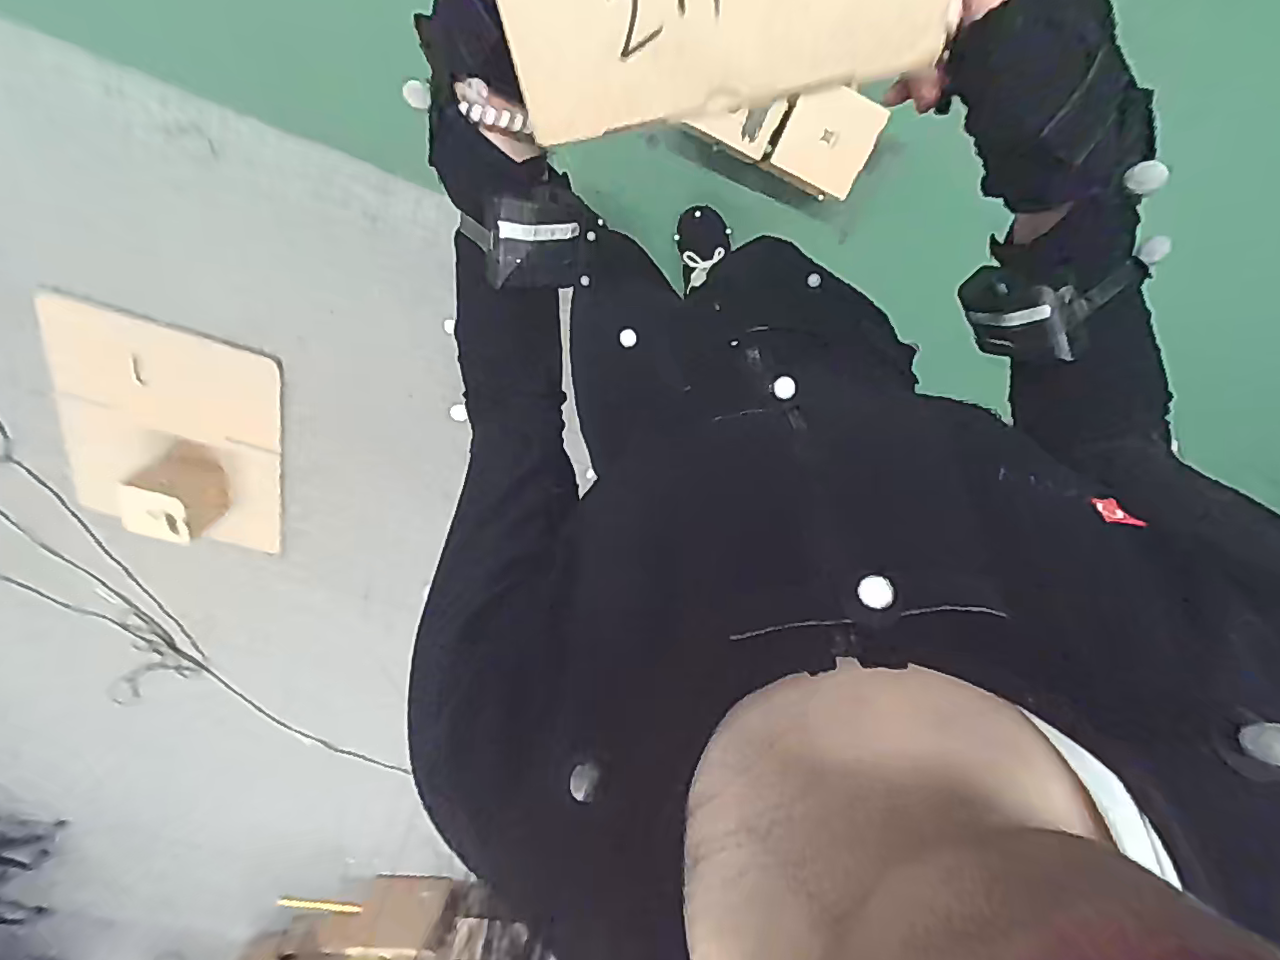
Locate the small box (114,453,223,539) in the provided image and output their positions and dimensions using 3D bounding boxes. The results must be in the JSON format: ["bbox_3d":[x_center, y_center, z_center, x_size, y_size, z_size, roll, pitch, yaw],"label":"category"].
[{"bbox_3d":[-1.350,0.042,1.566,0.179,0.176,0.168,15,119,-7],"label":"small box"}]

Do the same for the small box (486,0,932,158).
[{"bbox_3d":[0.027,-0.265,0.229,0.168,0.176,0.179,-1,133,14],"label":"small box"}]
